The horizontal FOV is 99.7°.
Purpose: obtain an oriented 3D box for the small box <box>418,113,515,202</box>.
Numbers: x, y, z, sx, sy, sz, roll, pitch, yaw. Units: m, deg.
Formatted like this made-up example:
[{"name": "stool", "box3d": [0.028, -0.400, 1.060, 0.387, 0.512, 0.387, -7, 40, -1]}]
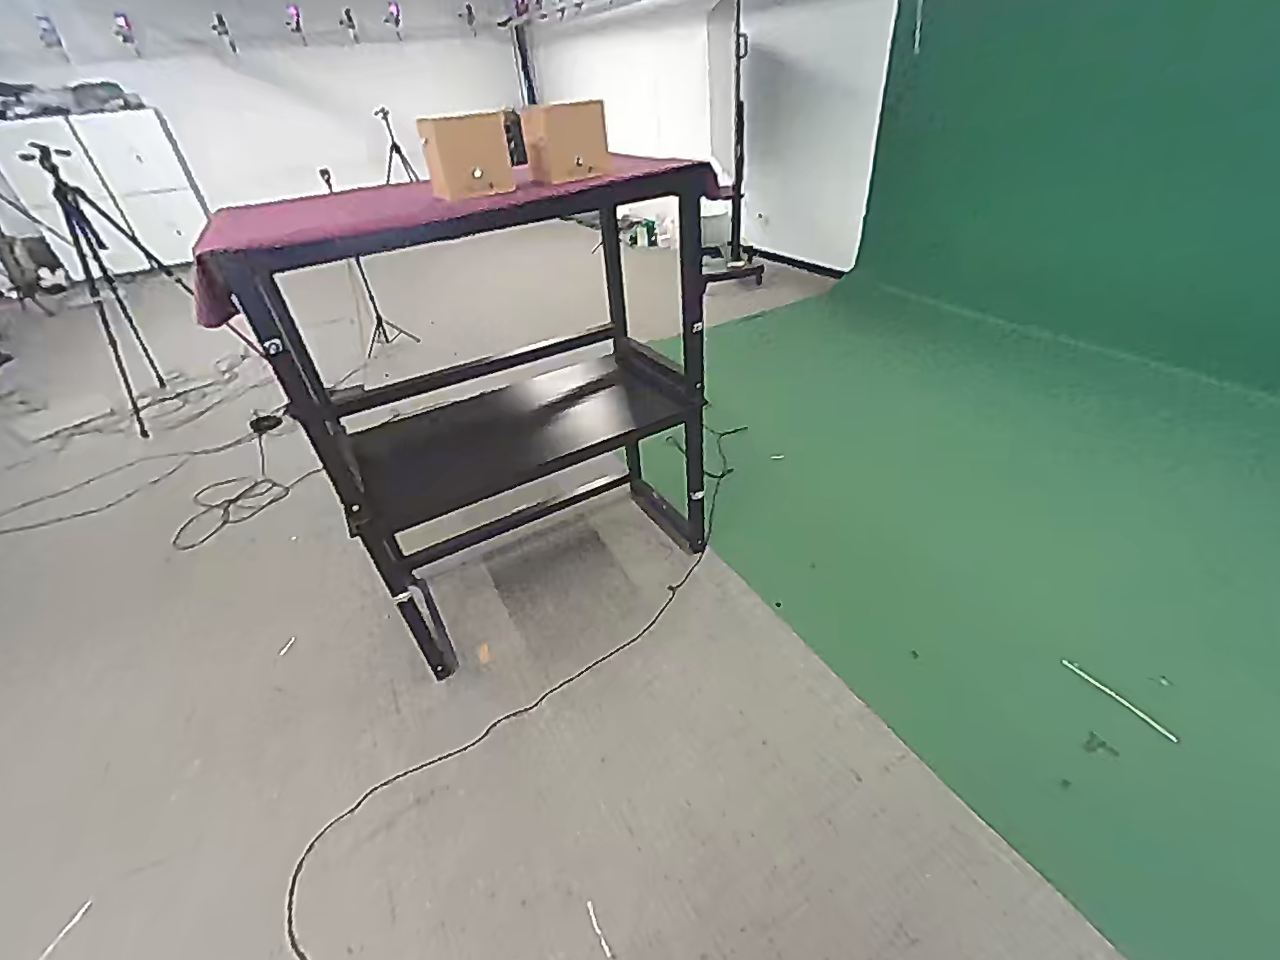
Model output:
[{"name": "small box", "box3d": [-0.419, -0.783, 1.315, 0.168, 0.176, 0.179, -22, 39, -21]}]
